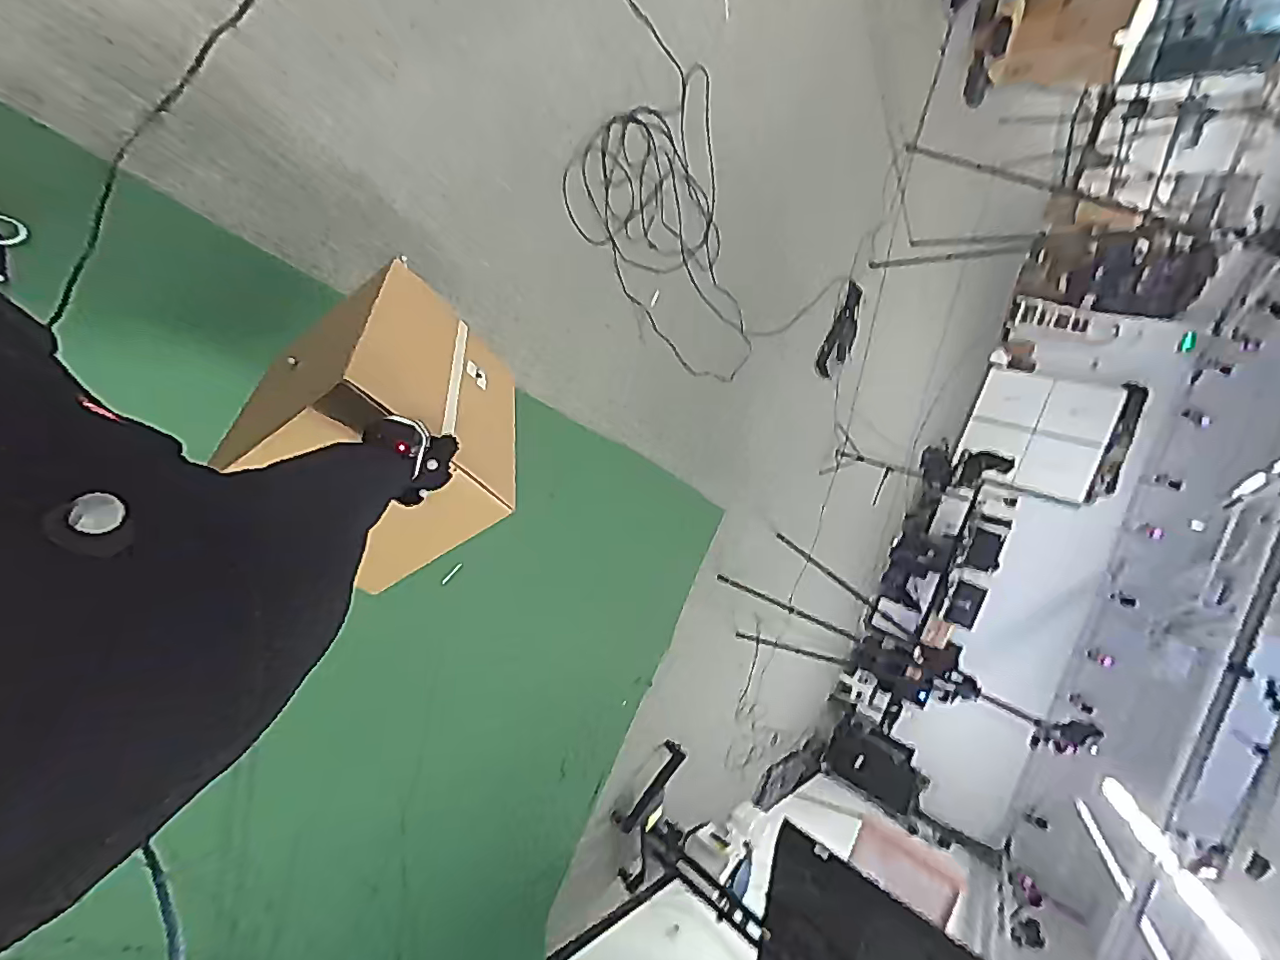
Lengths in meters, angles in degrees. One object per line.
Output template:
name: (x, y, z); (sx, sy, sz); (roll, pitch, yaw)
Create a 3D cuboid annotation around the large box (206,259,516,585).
large box: (-0.440, -0.098, 0.940); (0.320, 0.408, 0.320); (-31, 132, 14)
